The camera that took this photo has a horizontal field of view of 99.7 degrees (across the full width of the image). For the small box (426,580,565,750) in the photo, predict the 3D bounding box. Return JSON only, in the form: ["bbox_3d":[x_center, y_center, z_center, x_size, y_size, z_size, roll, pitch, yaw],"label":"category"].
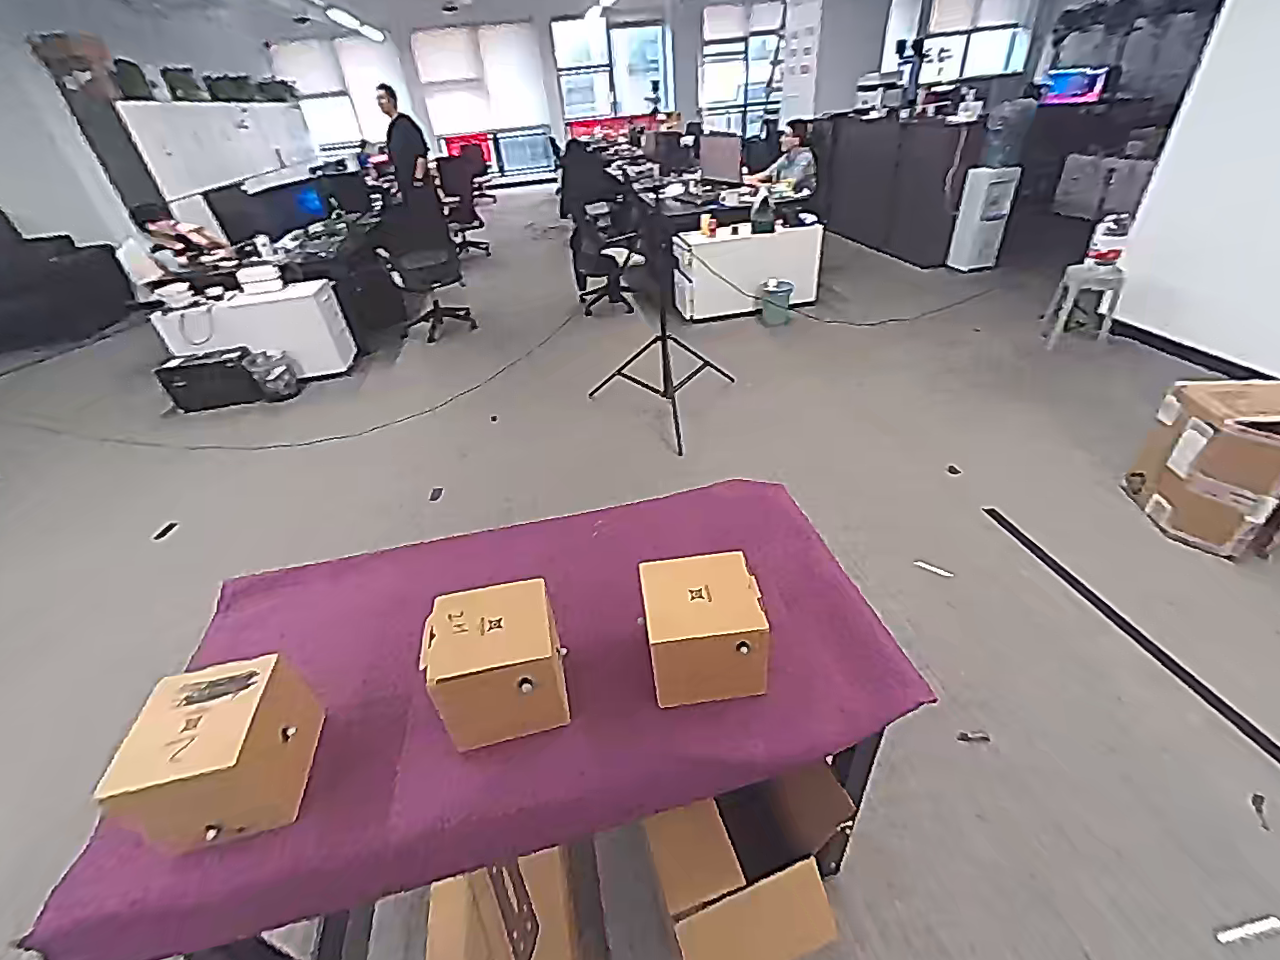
[{"bbox_3d":[-0.217,0.289,0.852,0.179,0.176,0.168,-12,34,-8],"label":"small box"}]

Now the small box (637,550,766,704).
[{"bbox_3d":[0.097,0.240,0.878,0.179,0.176,0.168,-7,35,-2],"label":"small box"}]
